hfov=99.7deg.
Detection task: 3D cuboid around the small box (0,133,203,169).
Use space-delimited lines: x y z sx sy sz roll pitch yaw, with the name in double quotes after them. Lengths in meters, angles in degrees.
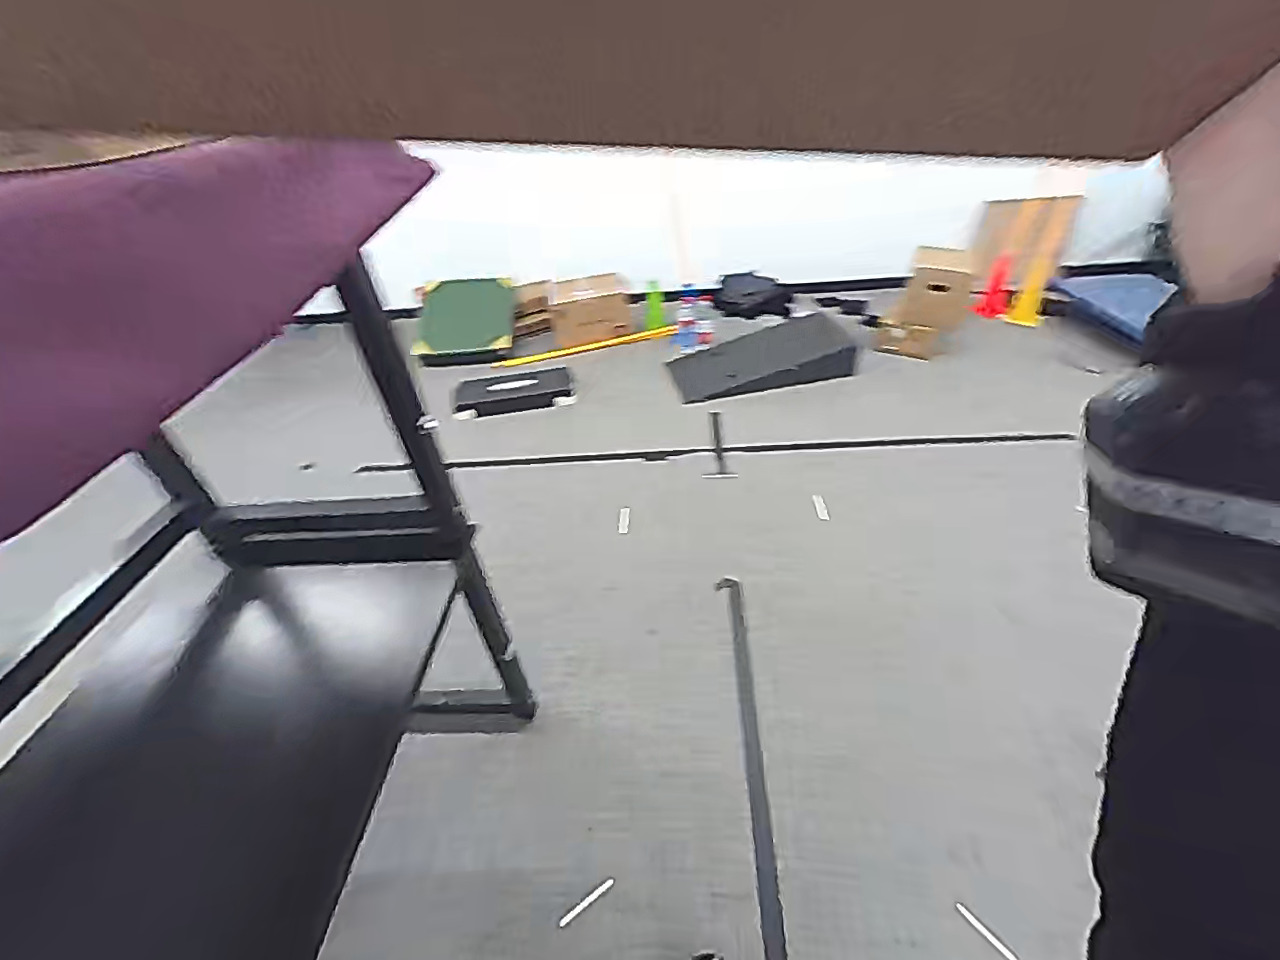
-0.576 -0.406 0.518 0.168 0.176 0.179 -1 38 8 "small box"
